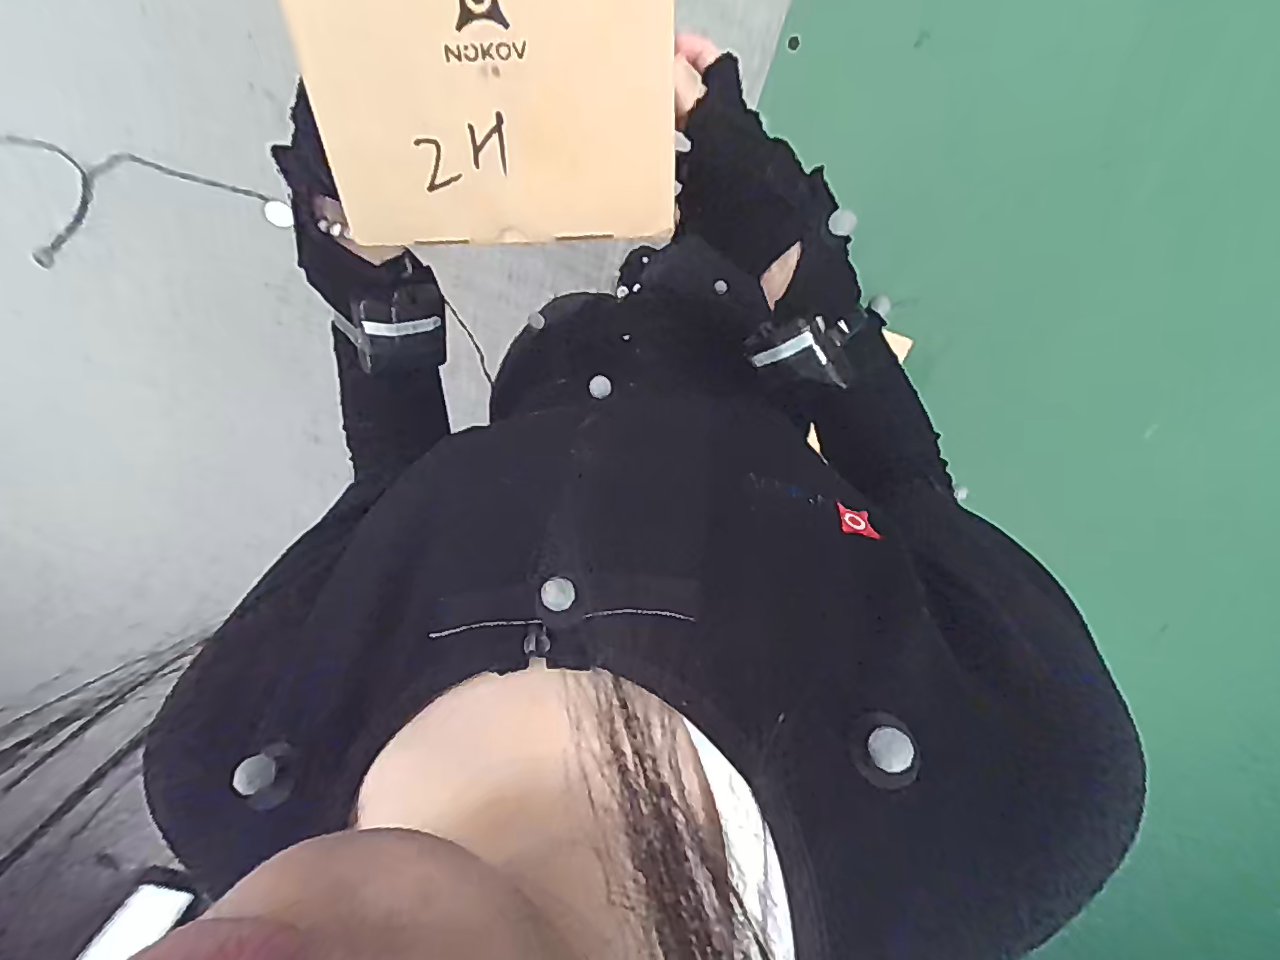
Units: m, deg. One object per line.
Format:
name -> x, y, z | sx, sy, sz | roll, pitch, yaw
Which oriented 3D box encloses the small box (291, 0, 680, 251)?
small box -> -0.064, -0.235, 0.300 | 0.168, 0.176, 0.179 | -1, 122, 2
